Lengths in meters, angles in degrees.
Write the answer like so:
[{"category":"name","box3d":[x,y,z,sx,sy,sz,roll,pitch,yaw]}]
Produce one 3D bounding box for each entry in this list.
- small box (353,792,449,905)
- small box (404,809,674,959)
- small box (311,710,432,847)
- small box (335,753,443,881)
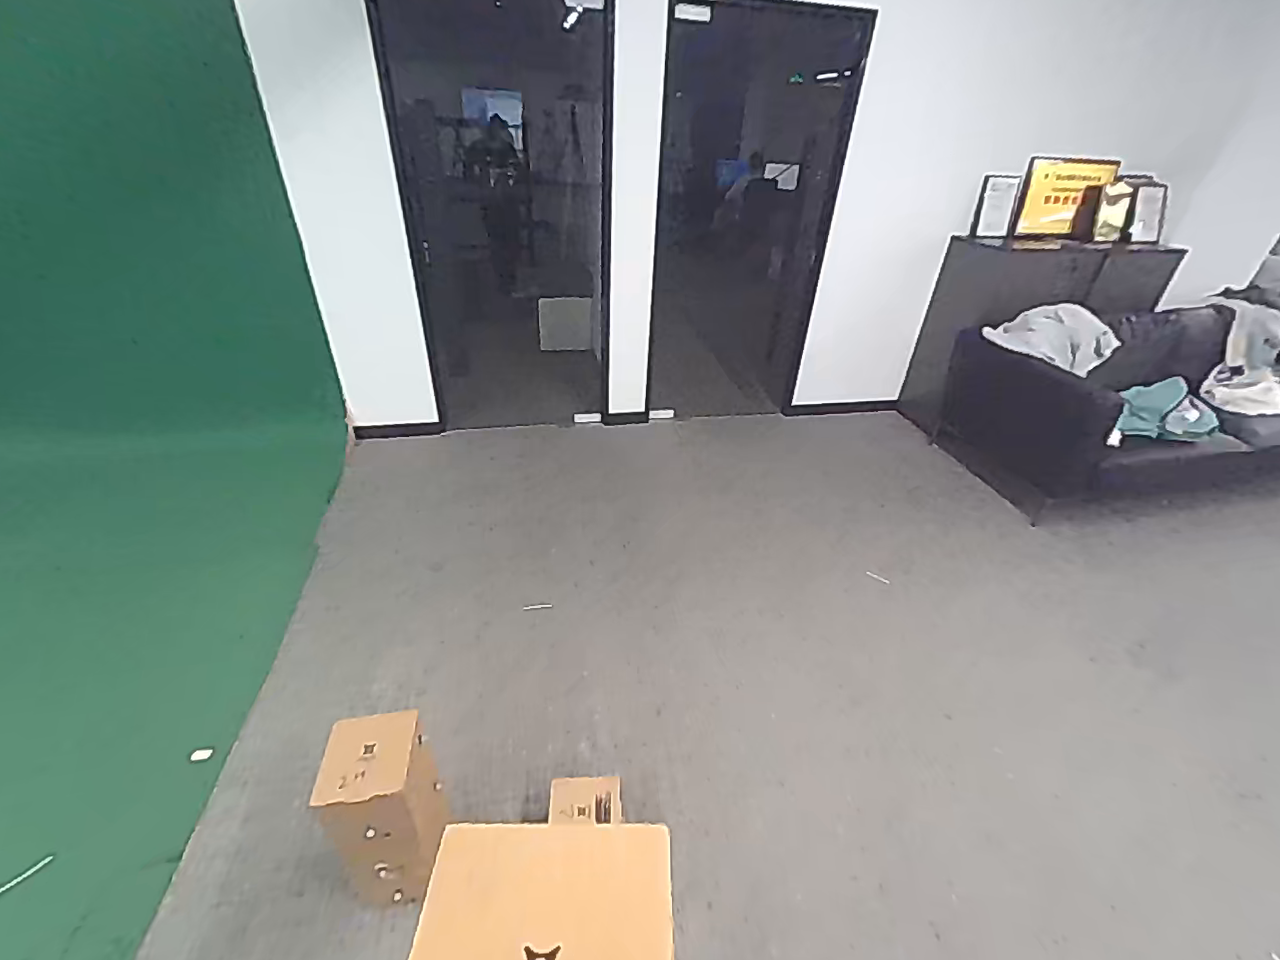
[{"category":"small box","box3d":[-0.549,0.873,1.280,0.168,0.176,0.179,-2,34,-7]},{"category":"small box","box3d":[-0.061,0.357,0.370,0.168,0.176,0.179,-1,35,1]},{"category":"small box","box3d":[-0.530,0.602,1.097,0.168,0.176,0.179,-5,34,-9]},{"category":"small box","box3d":[-0.539,0.738,1.190,0.168,0.176,0.179,-5,35,-9]}]
